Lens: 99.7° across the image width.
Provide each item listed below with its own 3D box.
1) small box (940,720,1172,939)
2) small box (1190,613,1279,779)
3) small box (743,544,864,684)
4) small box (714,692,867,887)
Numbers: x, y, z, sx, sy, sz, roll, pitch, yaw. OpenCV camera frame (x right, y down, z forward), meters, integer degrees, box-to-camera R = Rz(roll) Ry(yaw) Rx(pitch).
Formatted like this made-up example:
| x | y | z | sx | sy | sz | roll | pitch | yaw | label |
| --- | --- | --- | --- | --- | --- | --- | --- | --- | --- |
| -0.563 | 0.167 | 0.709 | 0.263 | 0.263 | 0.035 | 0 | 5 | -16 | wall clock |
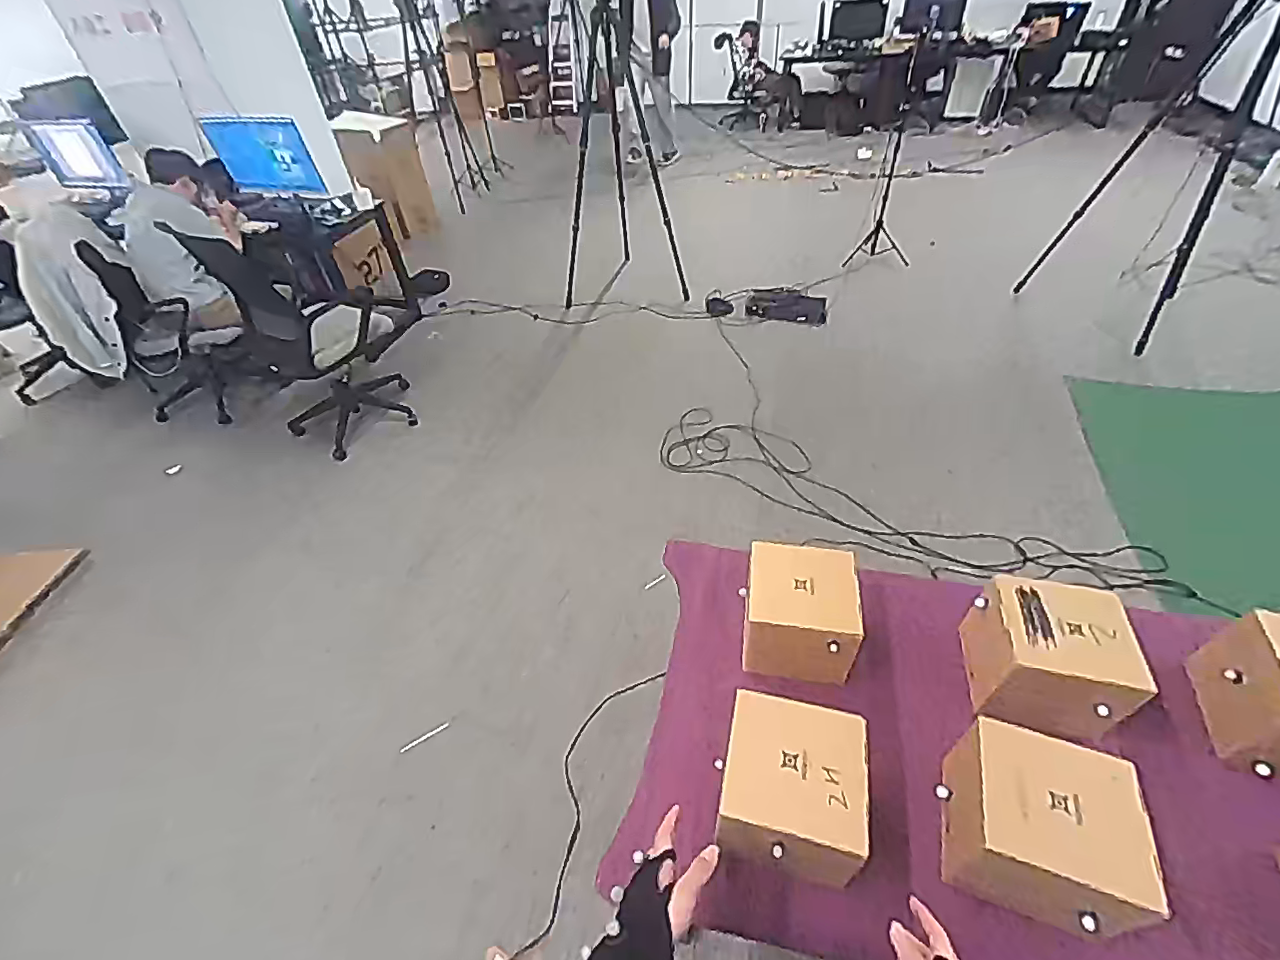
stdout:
| x | y | z | sx | sy | sz | roll | pitch | yaw | label |
| --- | --- | --- | --- | --- | --- | --- | --- | --- | --- |
| 0.508 | 0.447 | 0.692 | 0.179 | 0.176 | 0.168 | 13 | 45 | 19 | small box |
| 0.962 | 0.328 | 0.777 | 0.168 | 0.176 | 0.179 | 12 | 45 | 17 | small box |
| 0.274 | 0.234 | 0.940 | 0.179 | 0.176 | 0.168 | 5 | 44 | 10 | small box |
| 0.202 | 0.423 | 0.740 | 0.179 | 0.176 | 0.168 | 9 | 44 | 14 | small box |
